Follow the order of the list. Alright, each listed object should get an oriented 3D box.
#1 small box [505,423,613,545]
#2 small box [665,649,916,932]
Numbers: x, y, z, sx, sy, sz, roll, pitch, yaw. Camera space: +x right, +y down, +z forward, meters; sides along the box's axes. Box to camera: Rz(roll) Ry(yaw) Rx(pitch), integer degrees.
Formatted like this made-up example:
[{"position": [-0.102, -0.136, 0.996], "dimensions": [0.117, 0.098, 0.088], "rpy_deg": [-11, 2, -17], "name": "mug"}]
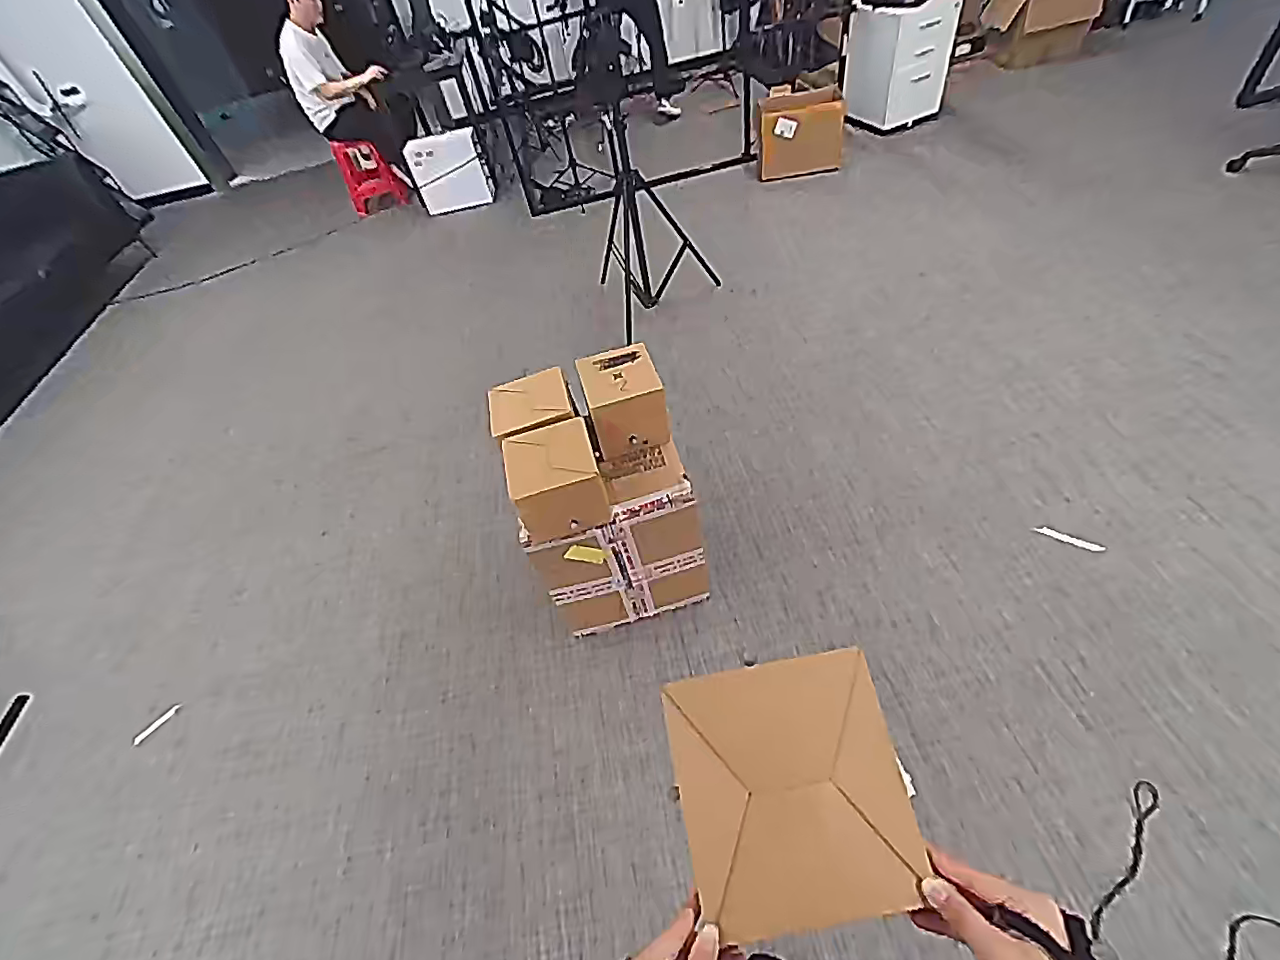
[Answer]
[{"position": [-0.171, 0.005, 1.133], "dimensions": [0.179, 0.176, 0.168], "rpy_deg": [-17, 51, -2], "name": "small box"}, {"position": [0.117, 0.257, 0.484], "dimensions": [0.168, 0.176, 0.179], "rpy_deg": [-11, 70, 0], "name": "small box"}]
